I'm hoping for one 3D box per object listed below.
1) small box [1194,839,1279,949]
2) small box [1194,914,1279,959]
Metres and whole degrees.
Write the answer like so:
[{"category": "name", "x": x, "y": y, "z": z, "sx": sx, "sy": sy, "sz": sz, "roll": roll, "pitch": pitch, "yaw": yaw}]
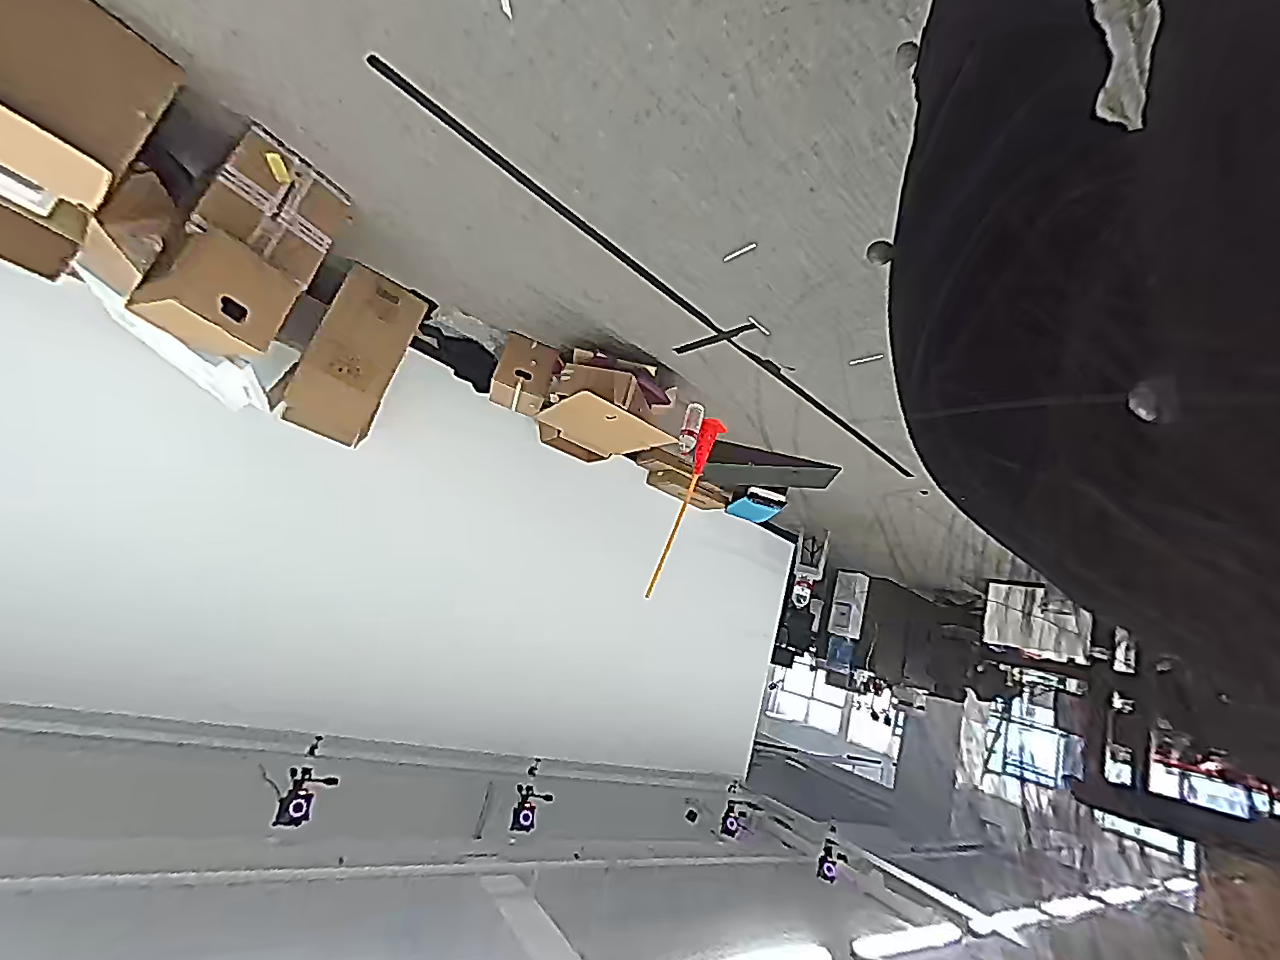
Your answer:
[{"category": "small box", "x": 1.485, "y": 1.006, "z": 1.323, "sx": 0.179, "sy": 0.176, "sz": 0.168, "roll": 25, "pitch": 162, "yaw": -35}, {"category": "small box", "x": 1.443, "y": 1.159, "z": 1.285, "sx": 0.179, "sy": 0.176, "sz": 0.168, "roll": 26, "pitch": 163, "yaw": -35}]
